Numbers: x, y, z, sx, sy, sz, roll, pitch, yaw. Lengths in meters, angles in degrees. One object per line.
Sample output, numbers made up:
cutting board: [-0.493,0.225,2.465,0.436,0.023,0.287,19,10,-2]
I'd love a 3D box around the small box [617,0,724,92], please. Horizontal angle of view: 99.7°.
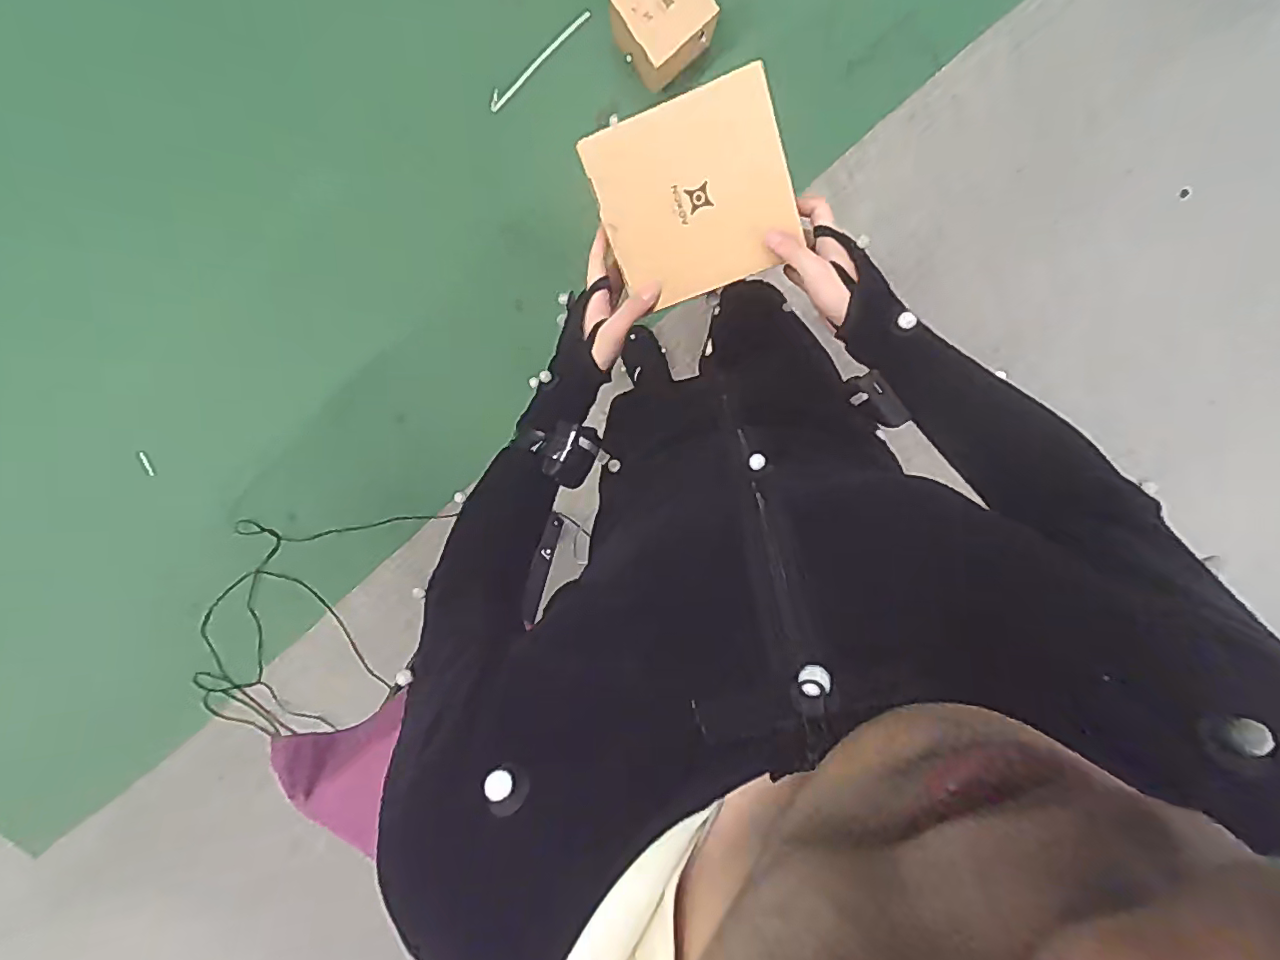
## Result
small box: [0.061,-1.034,1.220,0.179,0.176,0.168,-37,105,10]

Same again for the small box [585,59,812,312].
small box: [0.061,-0.293,0.574,0.179,0.176,0.168,-18,109,12]
